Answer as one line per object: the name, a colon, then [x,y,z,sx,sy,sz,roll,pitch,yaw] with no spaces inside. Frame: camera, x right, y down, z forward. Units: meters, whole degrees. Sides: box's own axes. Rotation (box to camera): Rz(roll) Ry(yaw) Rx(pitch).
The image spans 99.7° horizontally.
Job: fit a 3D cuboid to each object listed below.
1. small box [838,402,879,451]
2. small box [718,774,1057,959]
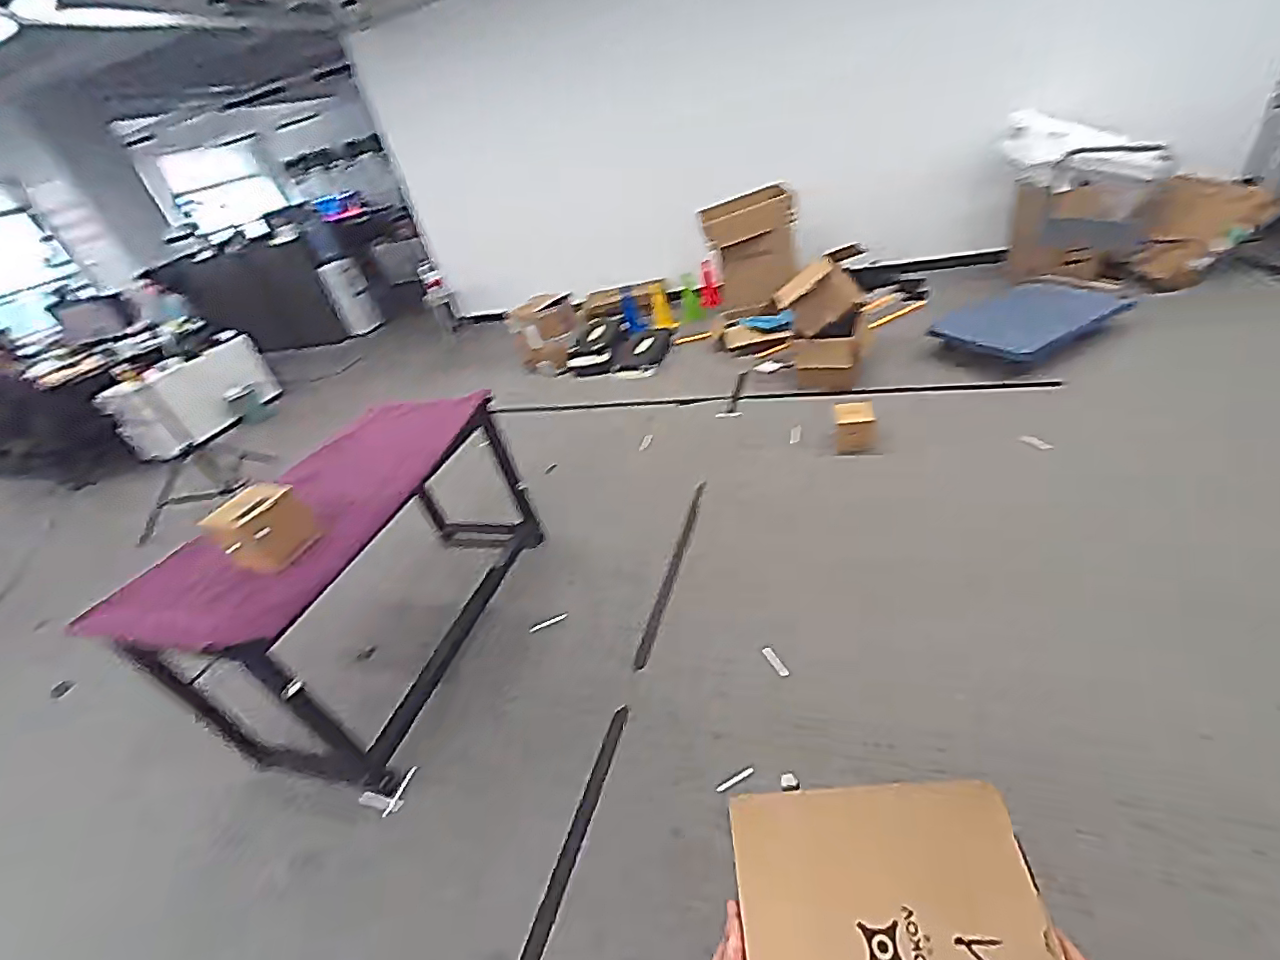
small box: [1.035,-0.248,2.564,0.168,0.176,0.179,-4,35,16]
small box: [0.155,0.312,0.371,0.179,0.176,0.168,-8,53,6]
